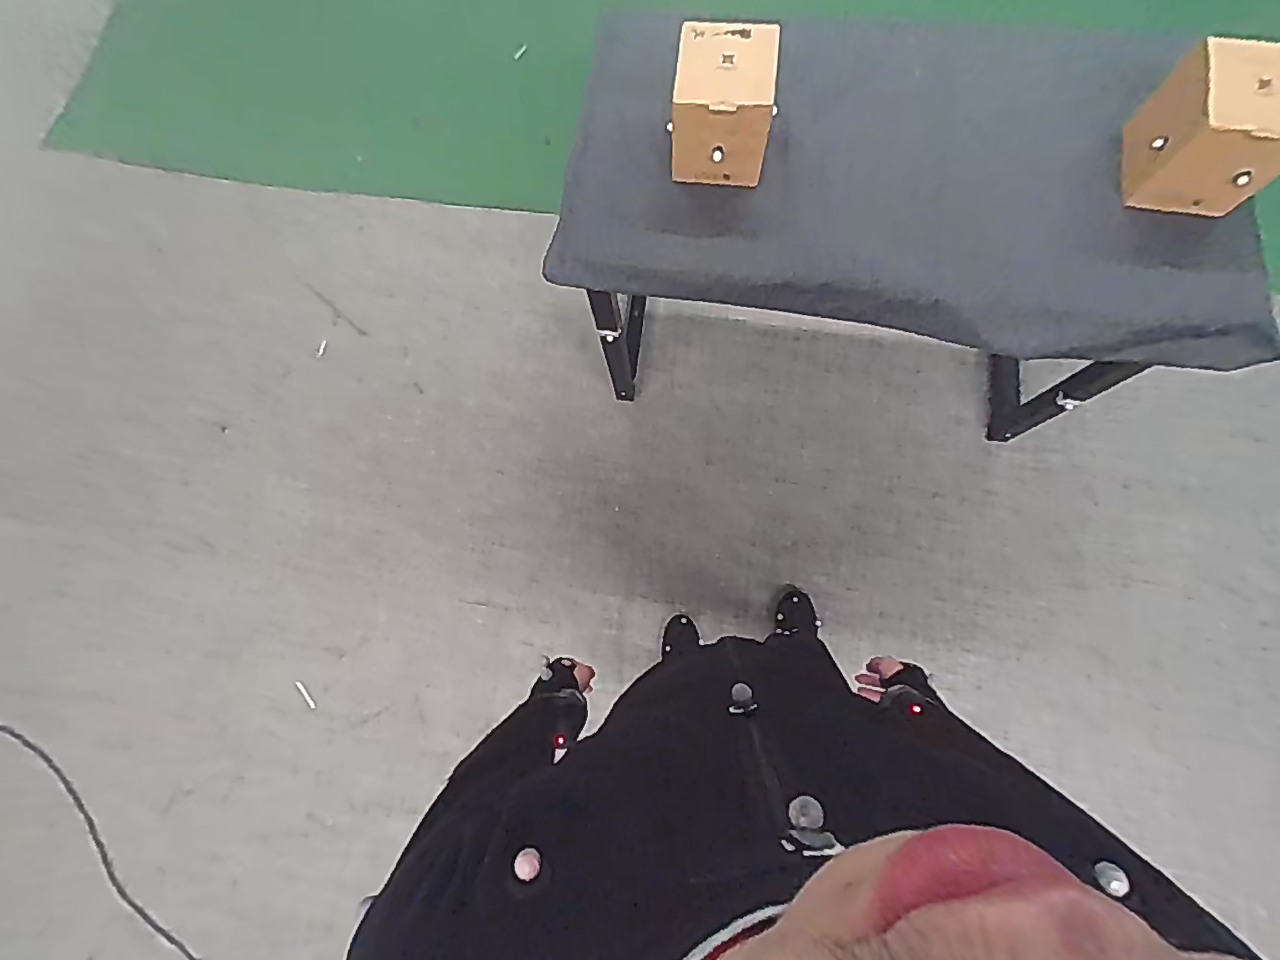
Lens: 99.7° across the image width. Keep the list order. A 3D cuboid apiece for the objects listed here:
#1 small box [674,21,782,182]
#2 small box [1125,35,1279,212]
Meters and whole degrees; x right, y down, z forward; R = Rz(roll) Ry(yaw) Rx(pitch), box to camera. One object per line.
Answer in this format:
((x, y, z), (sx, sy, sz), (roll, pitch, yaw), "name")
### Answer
((0.152, -0.667, 0.968), (0.168, 0.176, 0.179), (6, 77, 5), "small box")
((0.951, -0.577, 0.891), (0.168, 0.176, 0.179), (11, 76, 5), "small box")
